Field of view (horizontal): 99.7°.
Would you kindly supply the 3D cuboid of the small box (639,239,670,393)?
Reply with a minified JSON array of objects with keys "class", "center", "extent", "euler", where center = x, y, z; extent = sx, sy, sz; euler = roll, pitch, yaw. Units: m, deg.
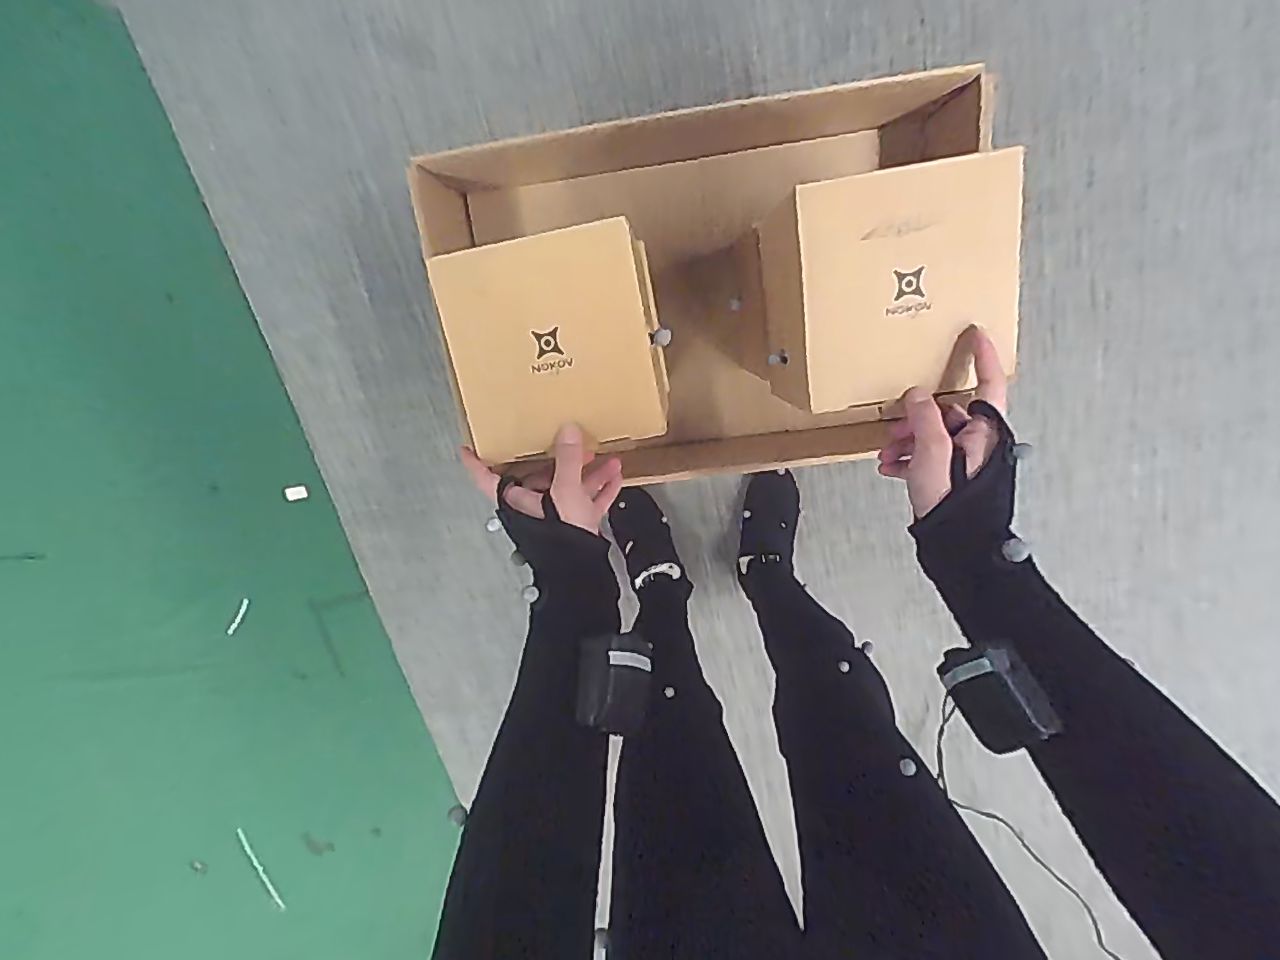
[{"class":"small box","center":[-0.058,-0.183,0.667],"extent":[0.179,0.176,0.168],"euler":[-9,104,4]}]

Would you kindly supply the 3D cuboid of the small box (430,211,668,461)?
[{"class":"small box","center":[-0.068,-0.130,0.513],"extent":[0.168,0.176,0.179],"euler":[-9,105,5]}]

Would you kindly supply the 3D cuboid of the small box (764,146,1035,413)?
[{"class":"small box","center":[0.211,-0.165,0.485],"extent":[0.168,0.176,0.179],"euler":[-7,104,4]}]
